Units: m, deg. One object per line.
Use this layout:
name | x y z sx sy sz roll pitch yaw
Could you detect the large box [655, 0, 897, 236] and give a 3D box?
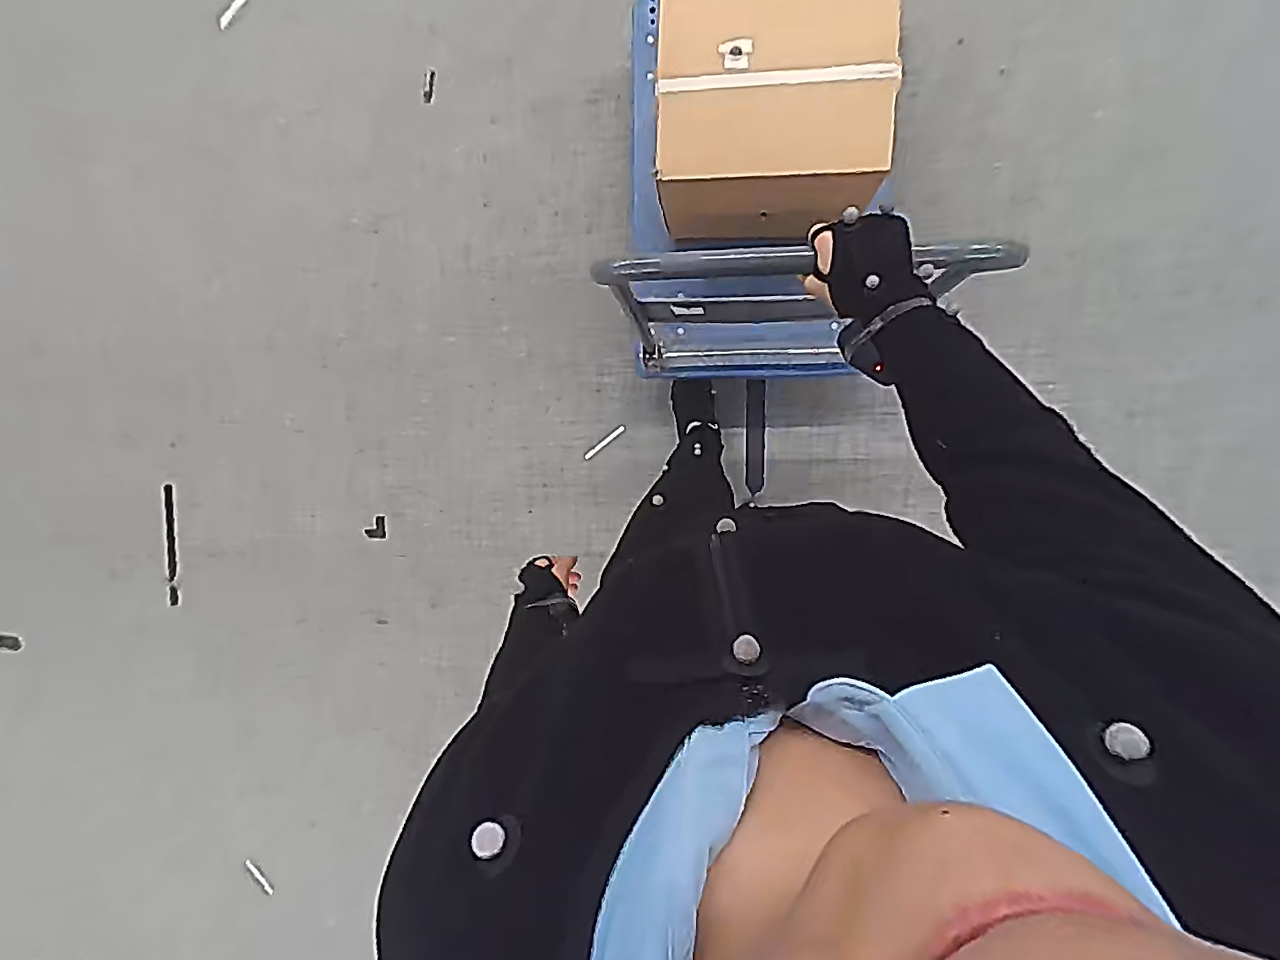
large box | 0.250 -0.698 1.068 0.408 0.320 0.320 2 94 9
